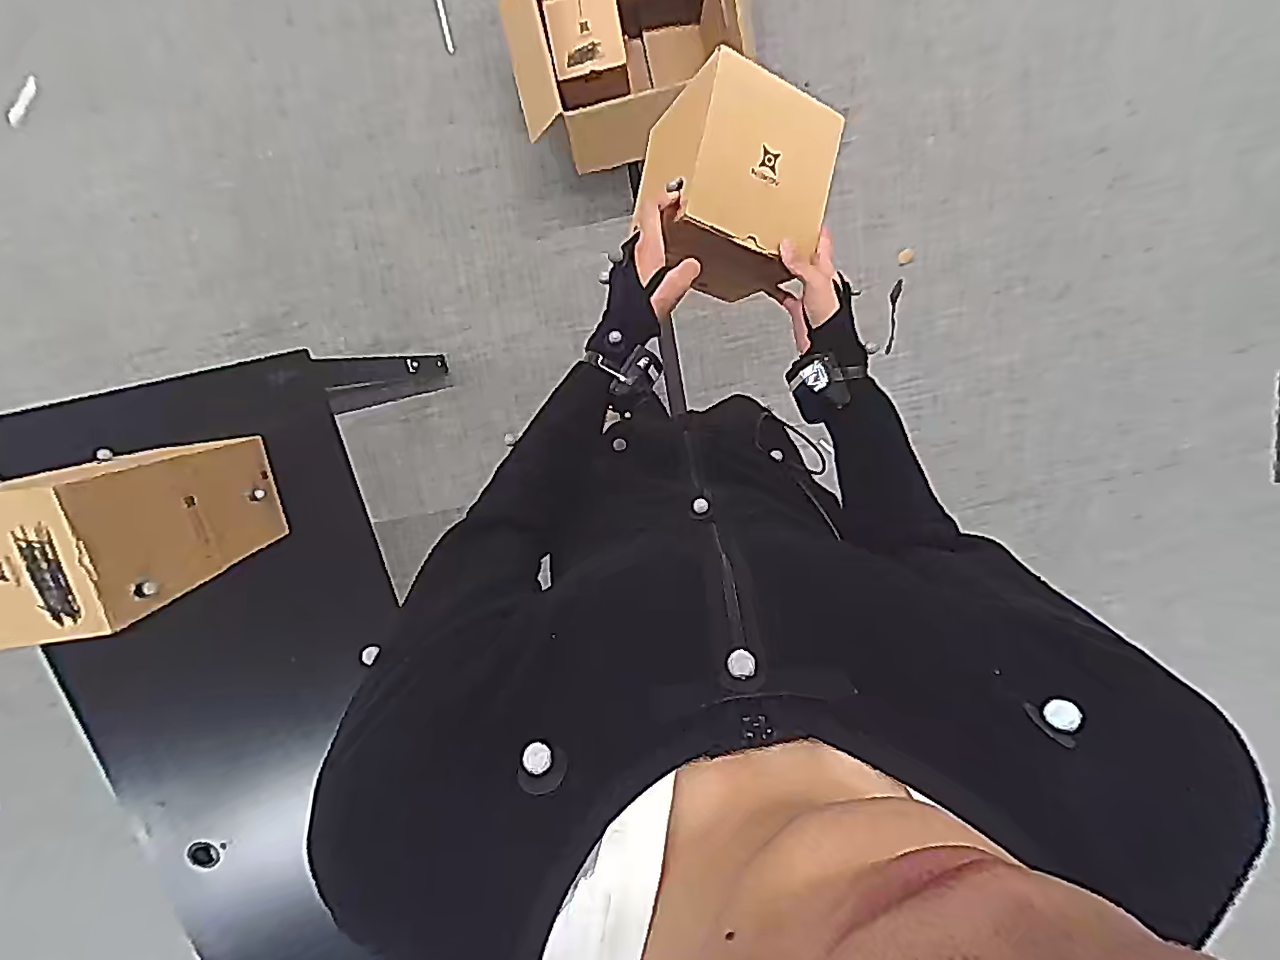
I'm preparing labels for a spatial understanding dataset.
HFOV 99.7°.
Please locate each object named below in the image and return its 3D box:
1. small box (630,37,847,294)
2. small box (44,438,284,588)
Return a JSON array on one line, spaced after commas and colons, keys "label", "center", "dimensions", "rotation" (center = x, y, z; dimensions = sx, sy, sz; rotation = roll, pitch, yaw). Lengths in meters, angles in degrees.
[{"label": "small box", "center": [0.103, -0.339, 0.627], "dimensions": [0.168, 0.176, 0.179], "rotation": [11, 92, -23]}, {"label": "small box", "center": [-0.670, 0.039, 0.785], "dimensions": [0.179, 0.176, 0.168], "rotation": [-7, 105, 0]}]
